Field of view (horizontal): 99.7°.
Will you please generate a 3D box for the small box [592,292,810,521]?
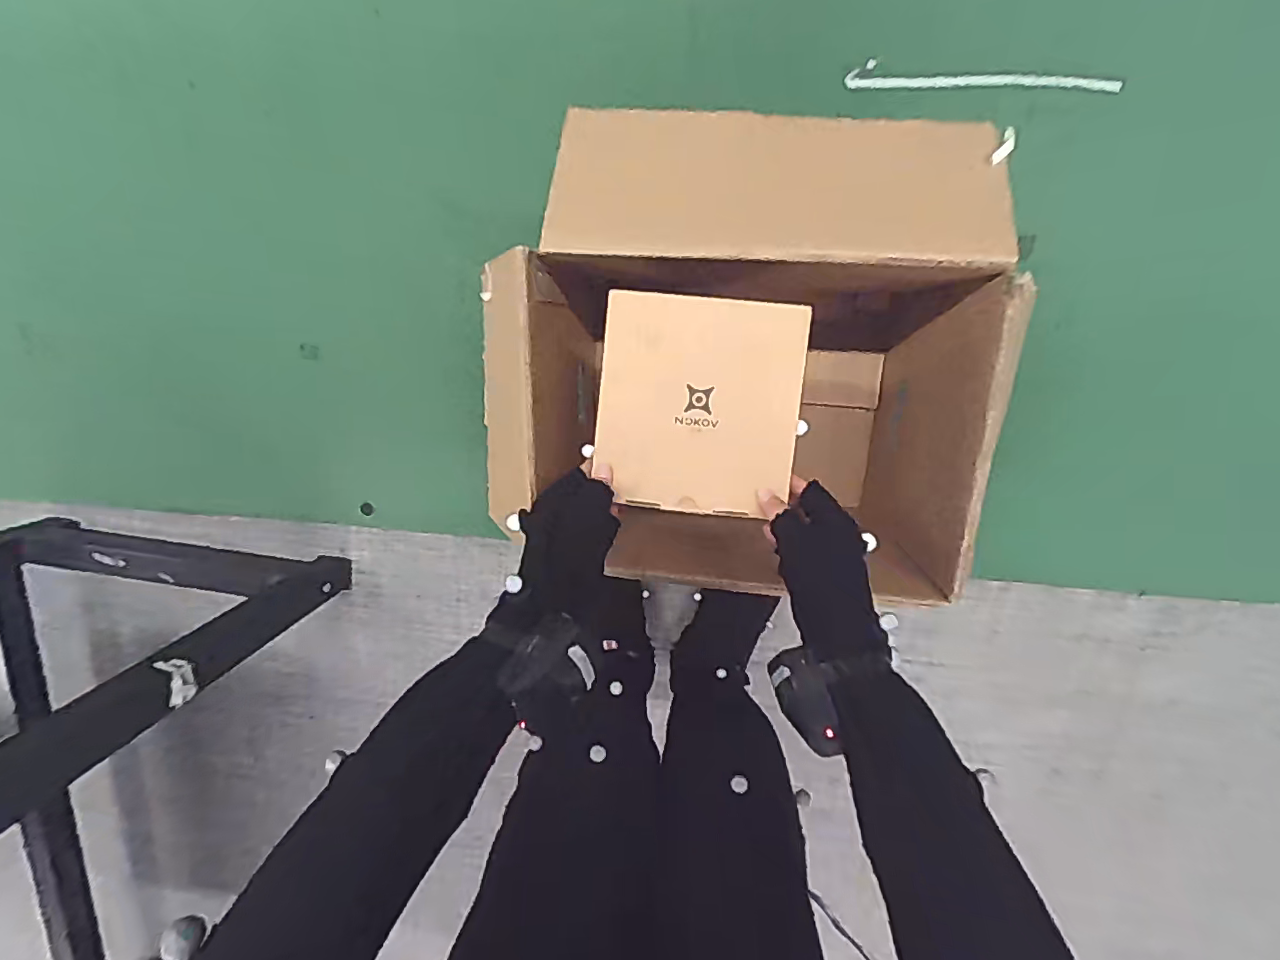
[{"bbox_3d":[0.052,-0.066,0.530,0.168,0.176,0.179,7,95,2],"label":"small box"}]
